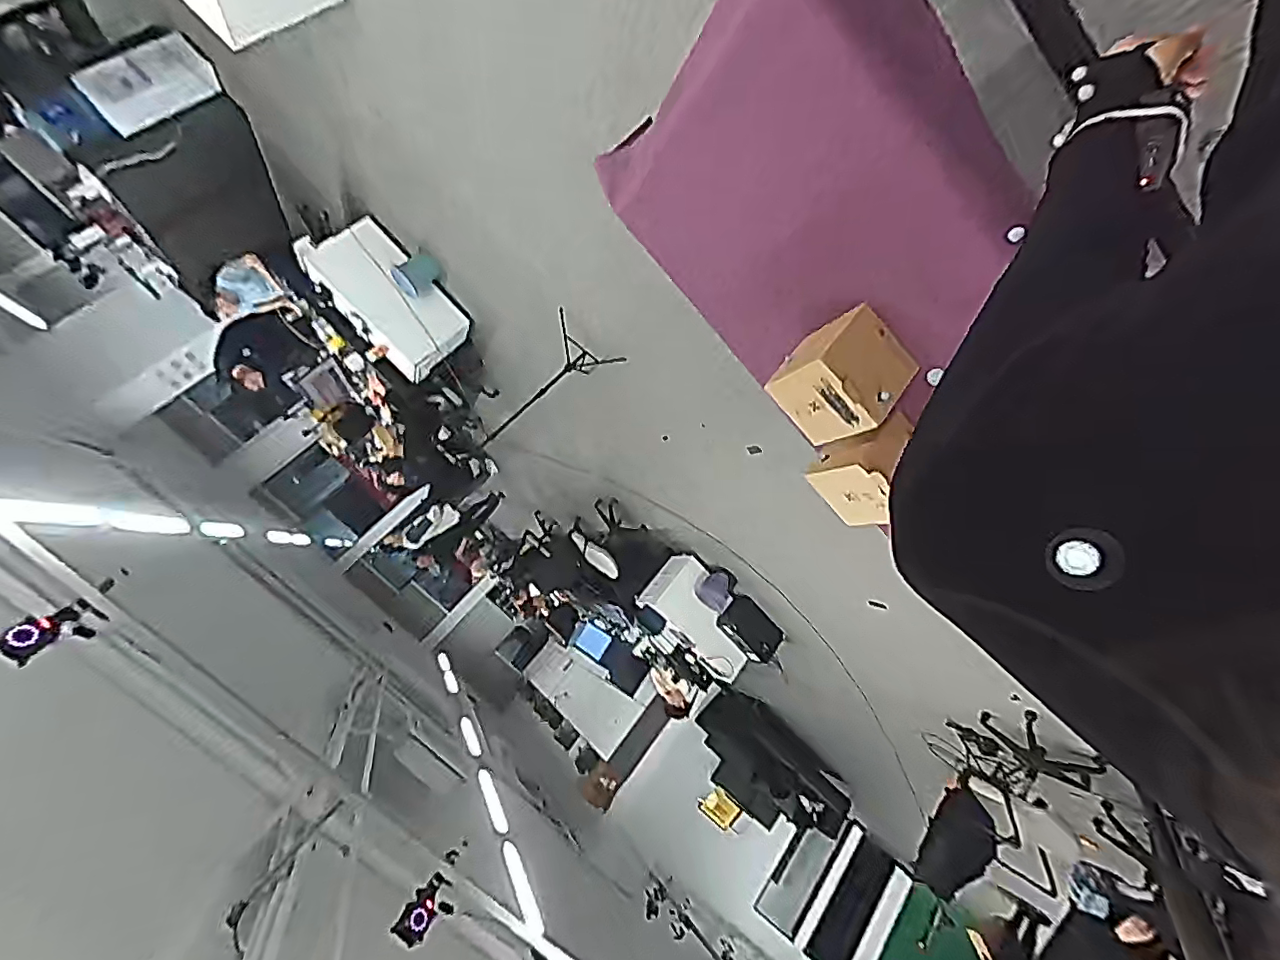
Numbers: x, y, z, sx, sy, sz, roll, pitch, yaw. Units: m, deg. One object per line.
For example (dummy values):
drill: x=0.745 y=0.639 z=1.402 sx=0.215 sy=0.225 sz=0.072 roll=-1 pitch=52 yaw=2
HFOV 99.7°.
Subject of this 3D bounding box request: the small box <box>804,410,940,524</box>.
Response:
small box: x=0.501 y=-0.024 z=1.169 sx=0.168 sy=0.176 sz=0.179 roll=45 pitch=158 yaw=-10
